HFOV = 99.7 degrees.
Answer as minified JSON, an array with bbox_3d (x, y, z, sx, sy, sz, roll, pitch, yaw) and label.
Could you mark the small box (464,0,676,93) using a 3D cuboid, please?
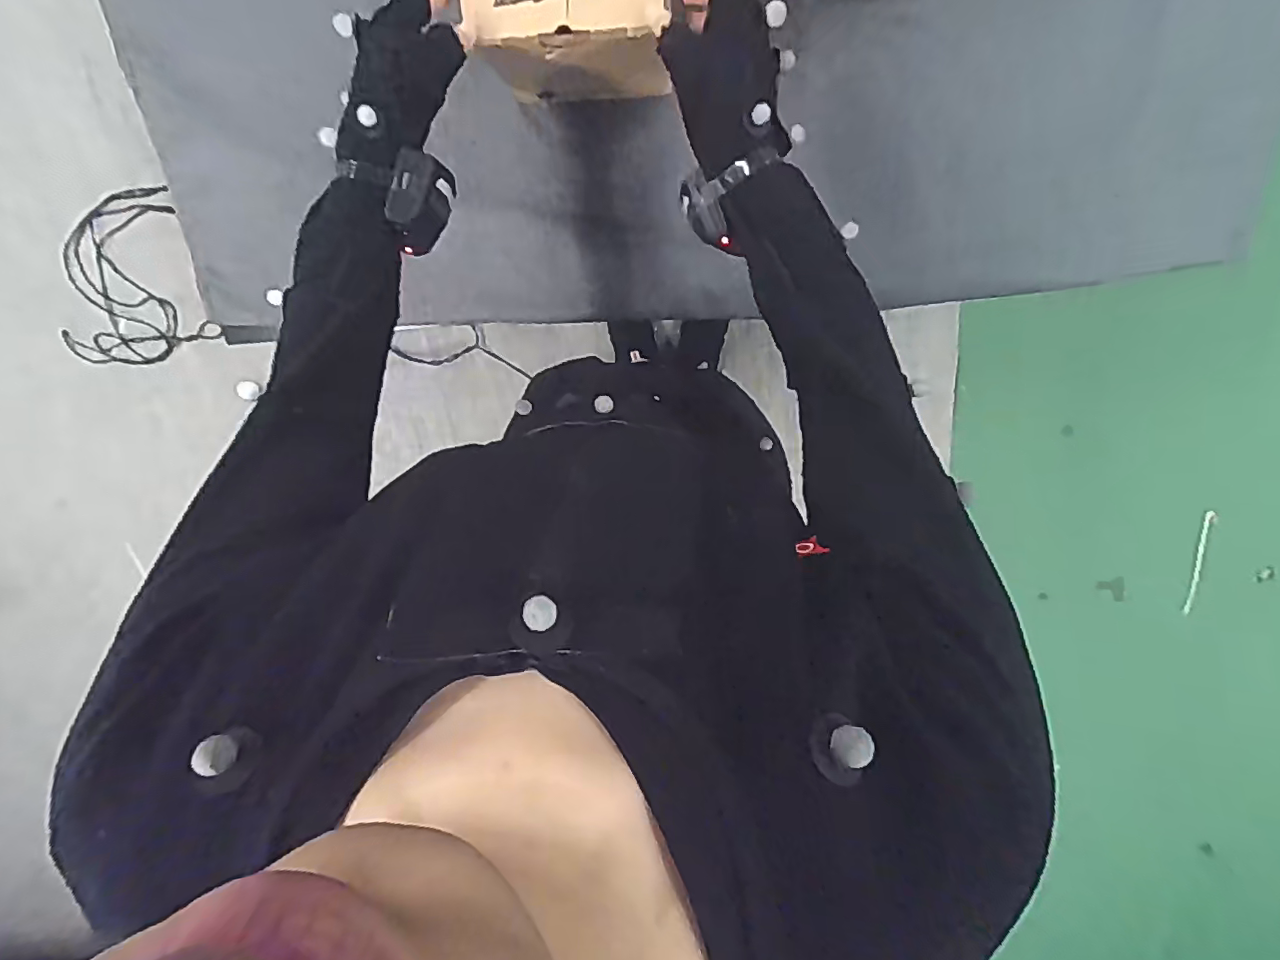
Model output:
[{"bbox_3d":[-0.054,-0.468,0.480,0.168,0.176,0.179,0,110,5],"label":"small box"}]
